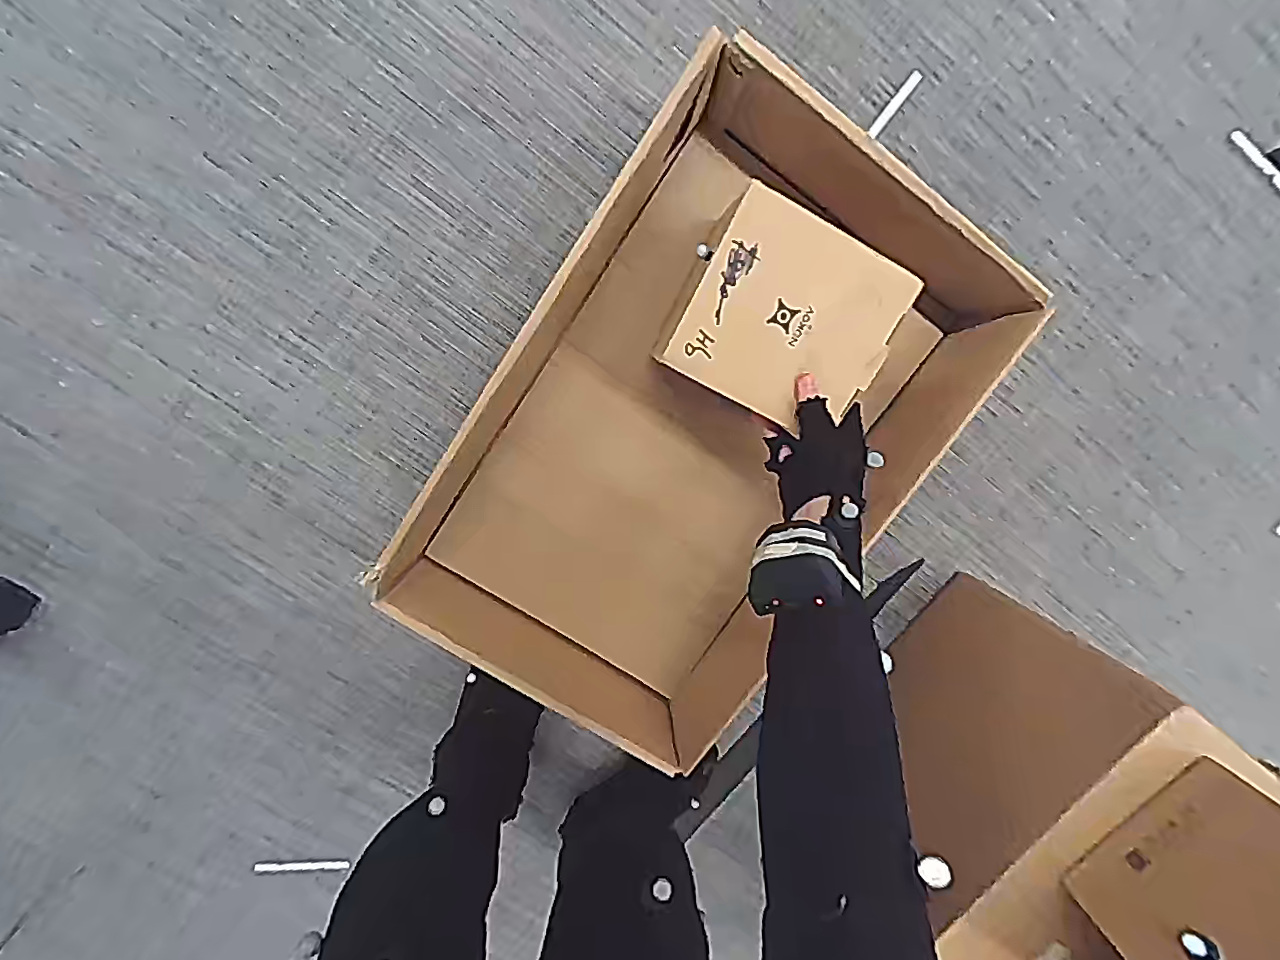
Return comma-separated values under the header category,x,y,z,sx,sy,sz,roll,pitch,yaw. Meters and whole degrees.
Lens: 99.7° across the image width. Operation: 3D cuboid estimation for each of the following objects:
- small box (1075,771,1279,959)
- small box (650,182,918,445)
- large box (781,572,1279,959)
category,x,y,z,sx,sy,sz,roll,pitch,yaw
small box,0.490,0.357,0.399,0.179,0.176,0.168,39,100,-9
small box,0.124,-0.160,0.542,0.179,0.176,0.168,26,103,-9
large box,0.447,0.393,0.651,0.320,0.320,0.408,36,99,-8
